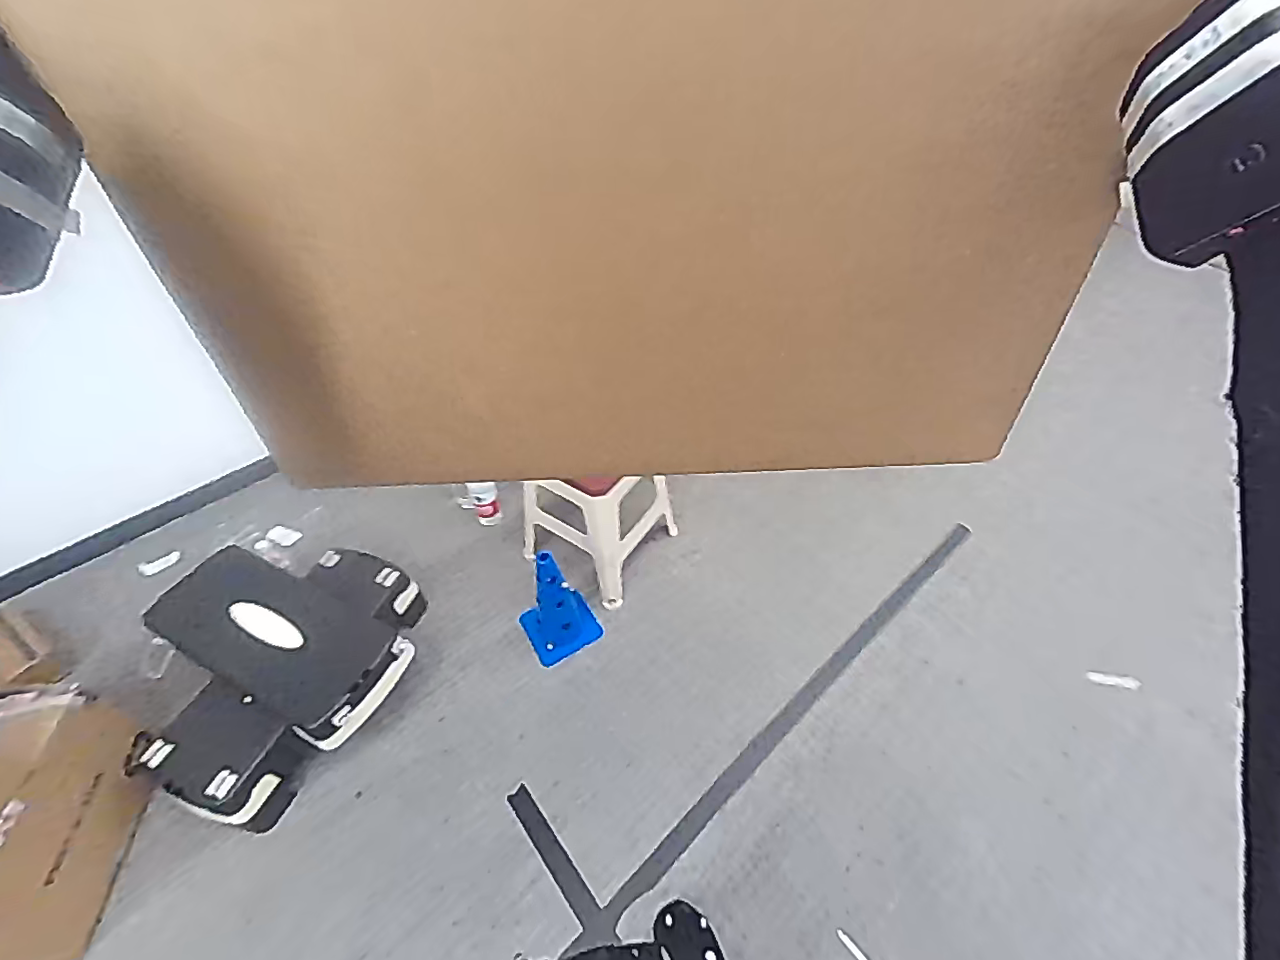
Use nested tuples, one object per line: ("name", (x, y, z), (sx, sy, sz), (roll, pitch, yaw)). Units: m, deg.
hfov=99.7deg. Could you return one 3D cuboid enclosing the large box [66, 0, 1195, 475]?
("large box", (-0.002, -0.217, 0.335), (0.408, 0.320, 0.320), (-1, 41, 1))
